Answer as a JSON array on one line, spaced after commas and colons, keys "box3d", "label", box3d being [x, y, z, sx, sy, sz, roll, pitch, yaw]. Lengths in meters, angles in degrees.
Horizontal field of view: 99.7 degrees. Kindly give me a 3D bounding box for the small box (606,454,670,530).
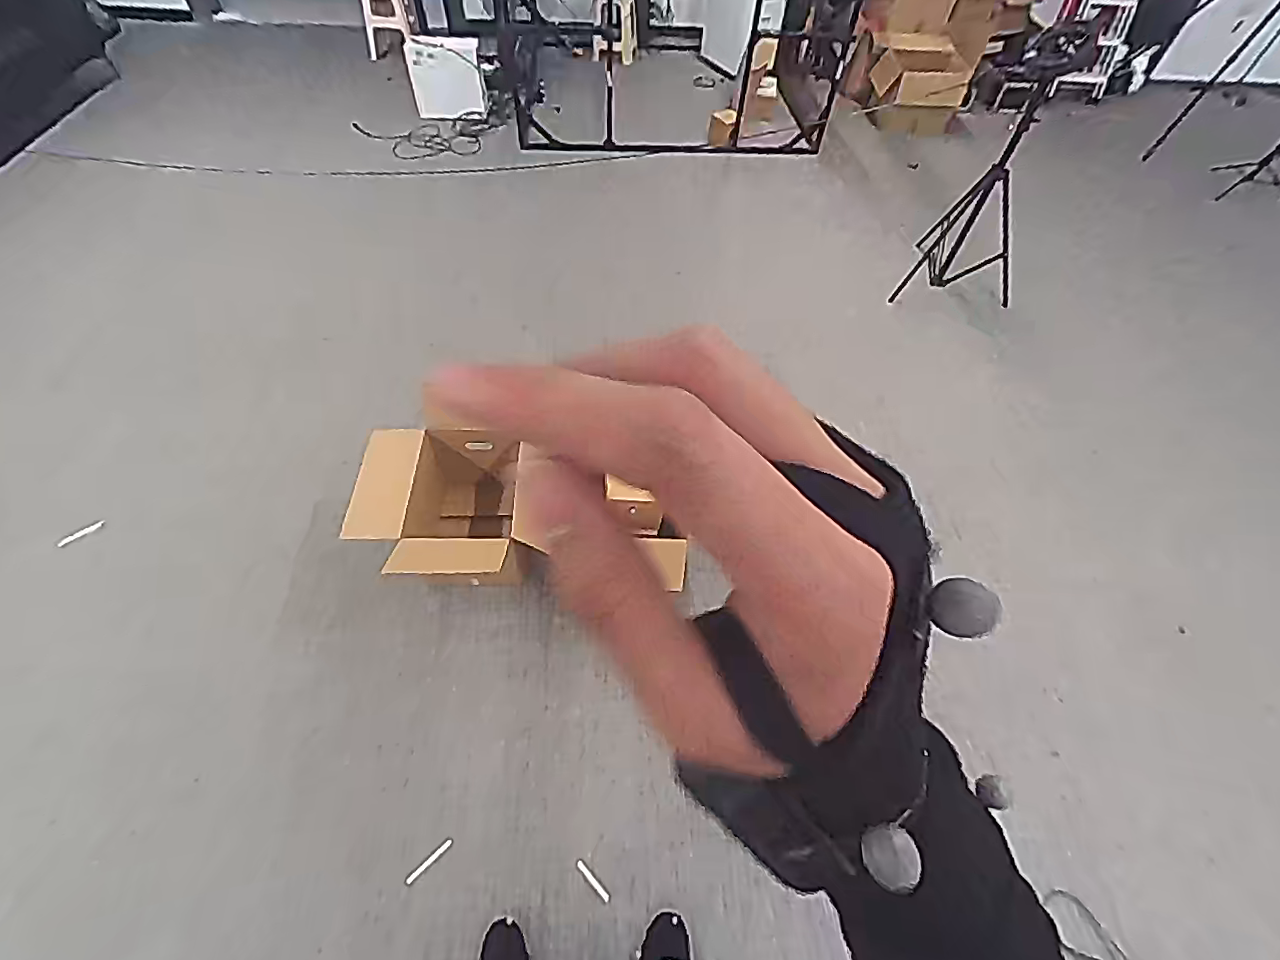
[{"box3d": [-0.011, 0.041, 1.637, 0.179, 0.176, 0.168, 2, 56, -5], "label": "small box"}]
